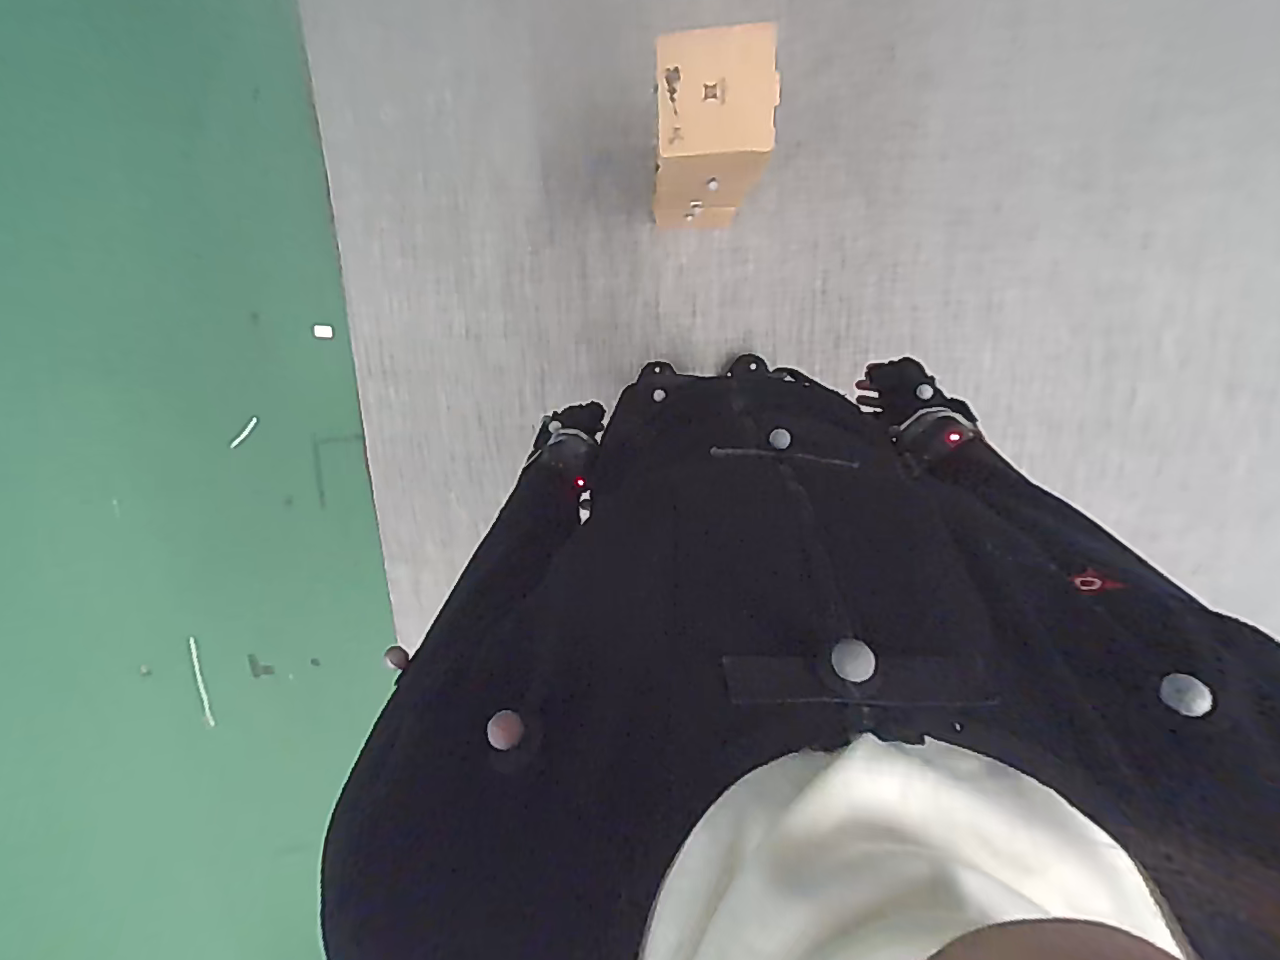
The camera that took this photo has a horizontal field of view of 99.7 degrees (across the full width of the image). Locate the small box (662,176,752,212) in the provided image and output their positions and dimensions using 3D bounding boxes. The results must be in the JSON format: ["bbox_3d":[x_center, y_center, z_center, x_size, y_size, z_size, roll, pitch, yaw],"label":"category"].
[{"bbox_3d":[0.127,-0.634,1.042,0.168,0.176,0.179,0,104,6],"label":"small box"}]

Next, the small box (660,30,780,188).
[{"bbox_3d":[0.123,-0.592,0.883,0.179,0.176,0.168,0,103,5],"label":"small box"}]

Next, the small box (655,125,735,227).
[{"bbox_3d":[0.127,-0.667,1.200,0.179,0.176,0.168,1,104,4],"label":"small box"}]
